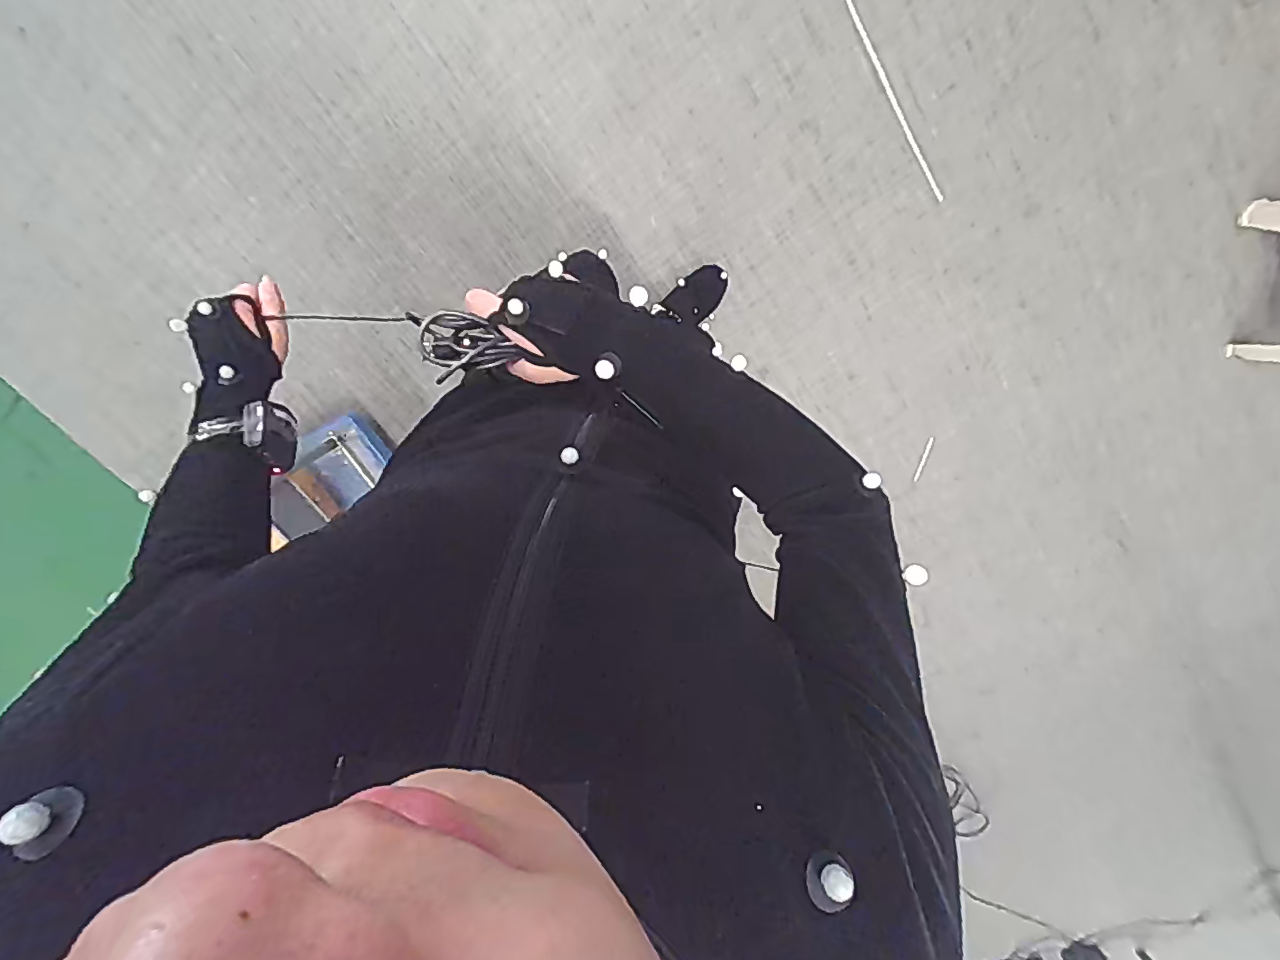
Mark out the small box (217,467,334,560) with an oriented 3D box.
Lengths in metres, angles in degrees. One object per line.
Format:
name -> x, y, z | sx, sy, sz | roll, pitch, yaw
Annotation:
small box -> -1.014, 0.091, 1.520 | 0.179, 0.176, 0.168 | -23, 112, 13
